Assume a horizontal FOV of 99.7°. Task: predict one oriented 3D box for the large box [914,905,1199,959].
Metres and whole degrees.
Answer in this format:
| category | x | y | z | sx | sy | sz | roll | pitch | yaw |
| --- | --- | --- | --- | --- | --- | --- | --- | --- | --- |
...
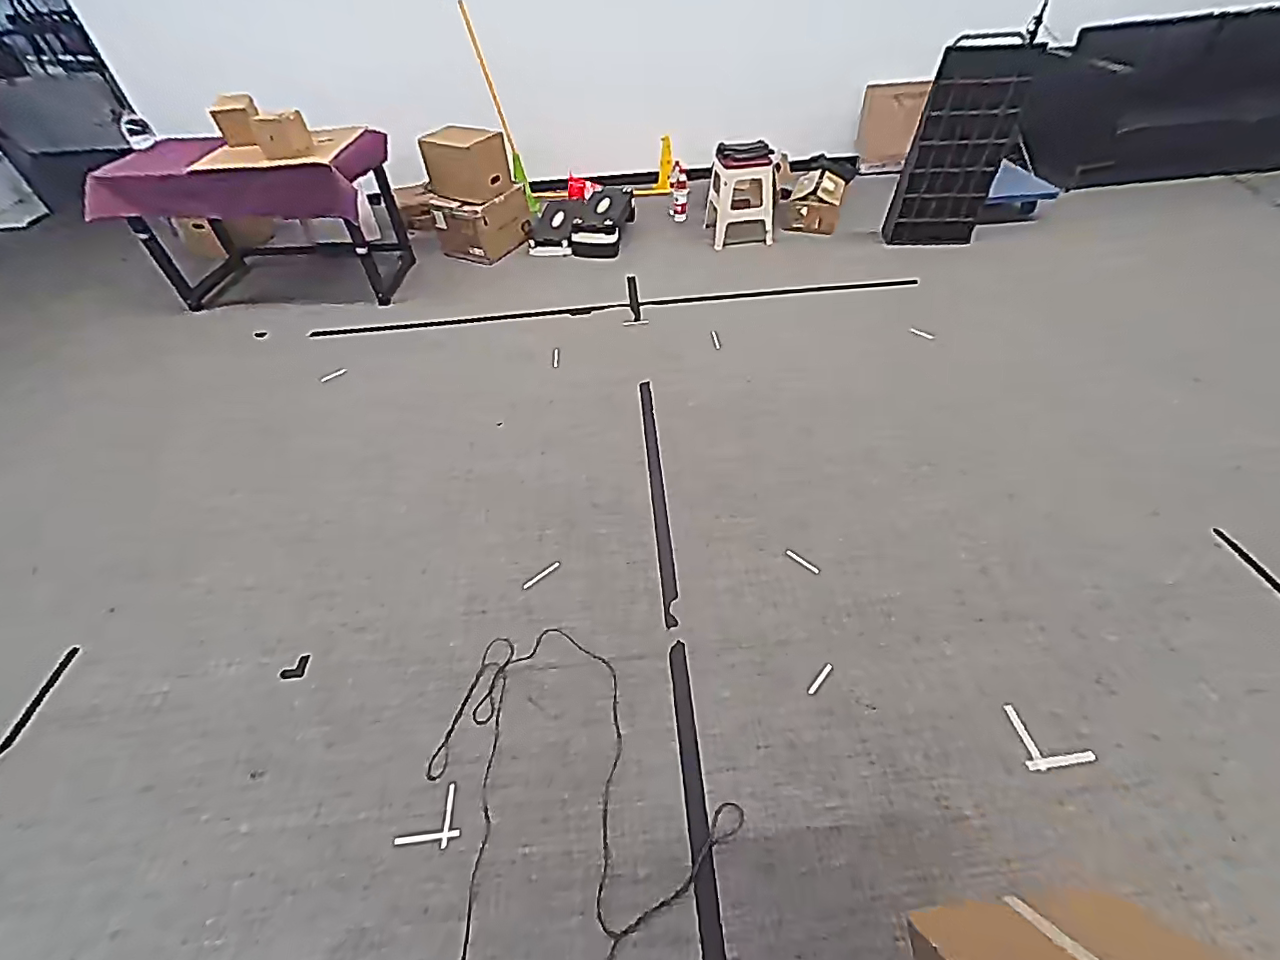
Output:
| category | x | y | z | sx | sy | sz | roll | pitch | yaw |
| --- | --- | --- | --- | --- | --- | --- | --- | --- | --- |
| large box | 0.567 | 0.745 | 0.577 | 0.320 | 0.408 | 0.320 | -6 | 76 | -2 |
